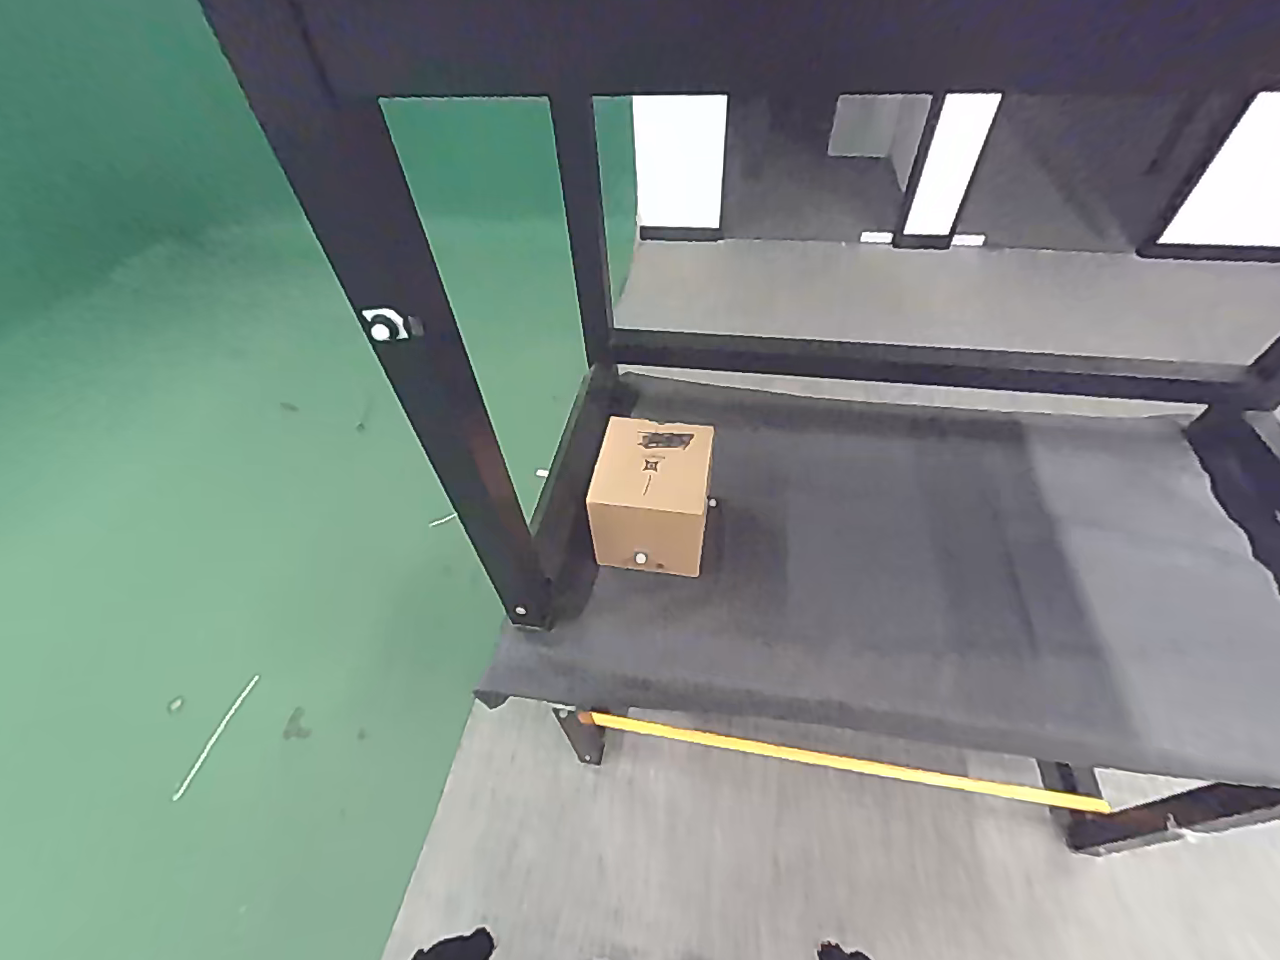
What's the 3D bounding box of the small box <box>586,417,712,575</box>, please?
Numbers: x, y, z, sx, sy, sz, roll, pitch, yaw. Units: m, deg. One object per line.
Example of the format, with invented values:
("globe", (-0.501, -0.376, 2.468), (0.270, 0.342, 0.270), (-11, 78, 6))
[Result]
("small box", (0.020, 0.026, 0.863), (0.168, 0.176, 0.179), (6, 50, 8))
